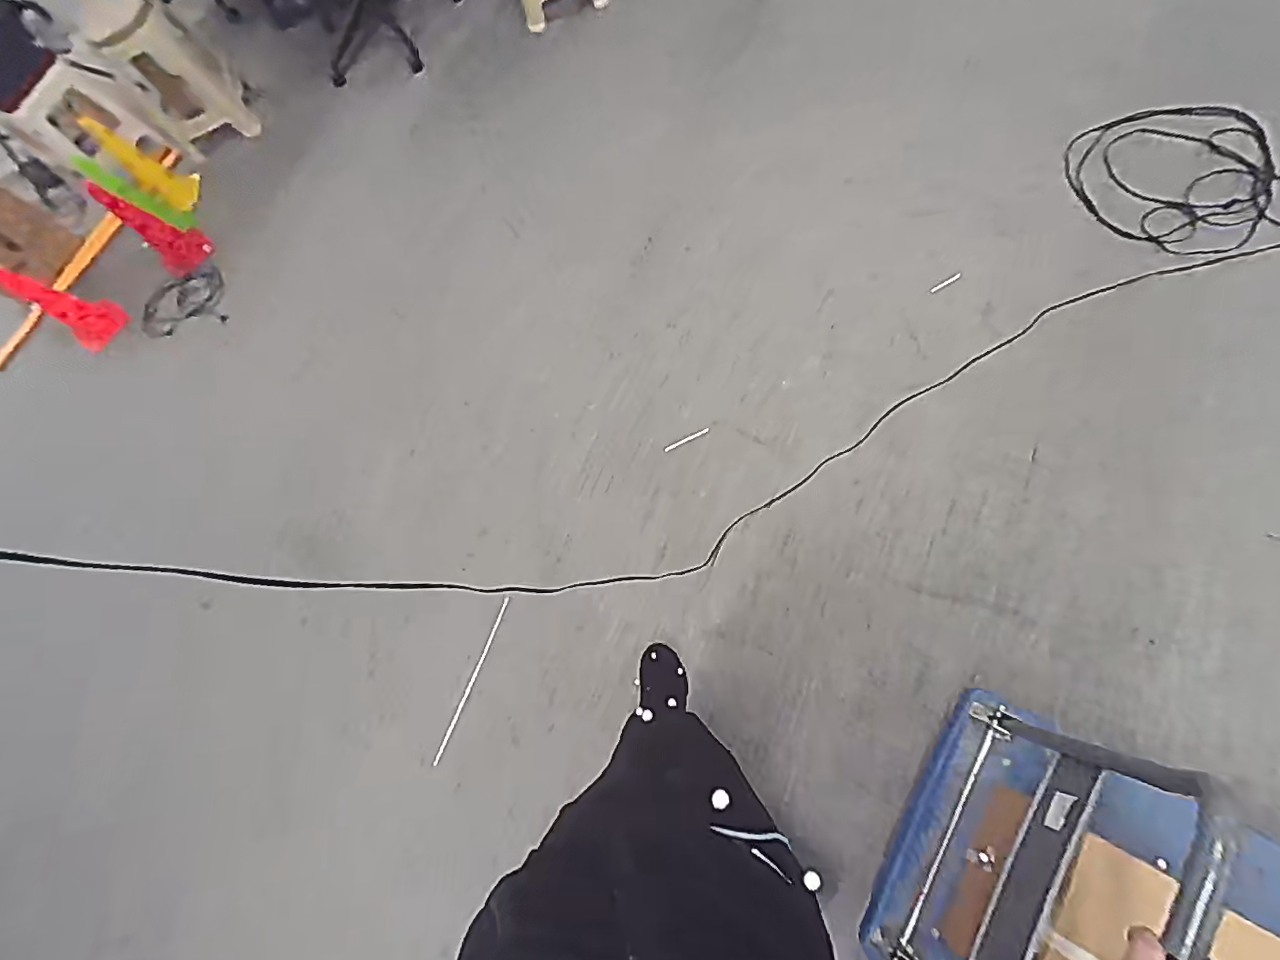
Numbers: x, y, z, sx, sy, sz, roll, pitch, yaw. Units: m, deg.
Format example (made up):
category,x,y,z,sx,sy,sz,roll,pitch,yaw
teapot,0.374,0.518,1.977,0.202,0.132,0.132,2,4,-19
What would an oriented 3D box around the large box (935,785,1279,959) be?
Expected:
category,x,y,z,sx,sy,sz,roll,pitch,yaw
large box,0.775,0.777,0.867,0.408,0.320,0.320,27,81,17
